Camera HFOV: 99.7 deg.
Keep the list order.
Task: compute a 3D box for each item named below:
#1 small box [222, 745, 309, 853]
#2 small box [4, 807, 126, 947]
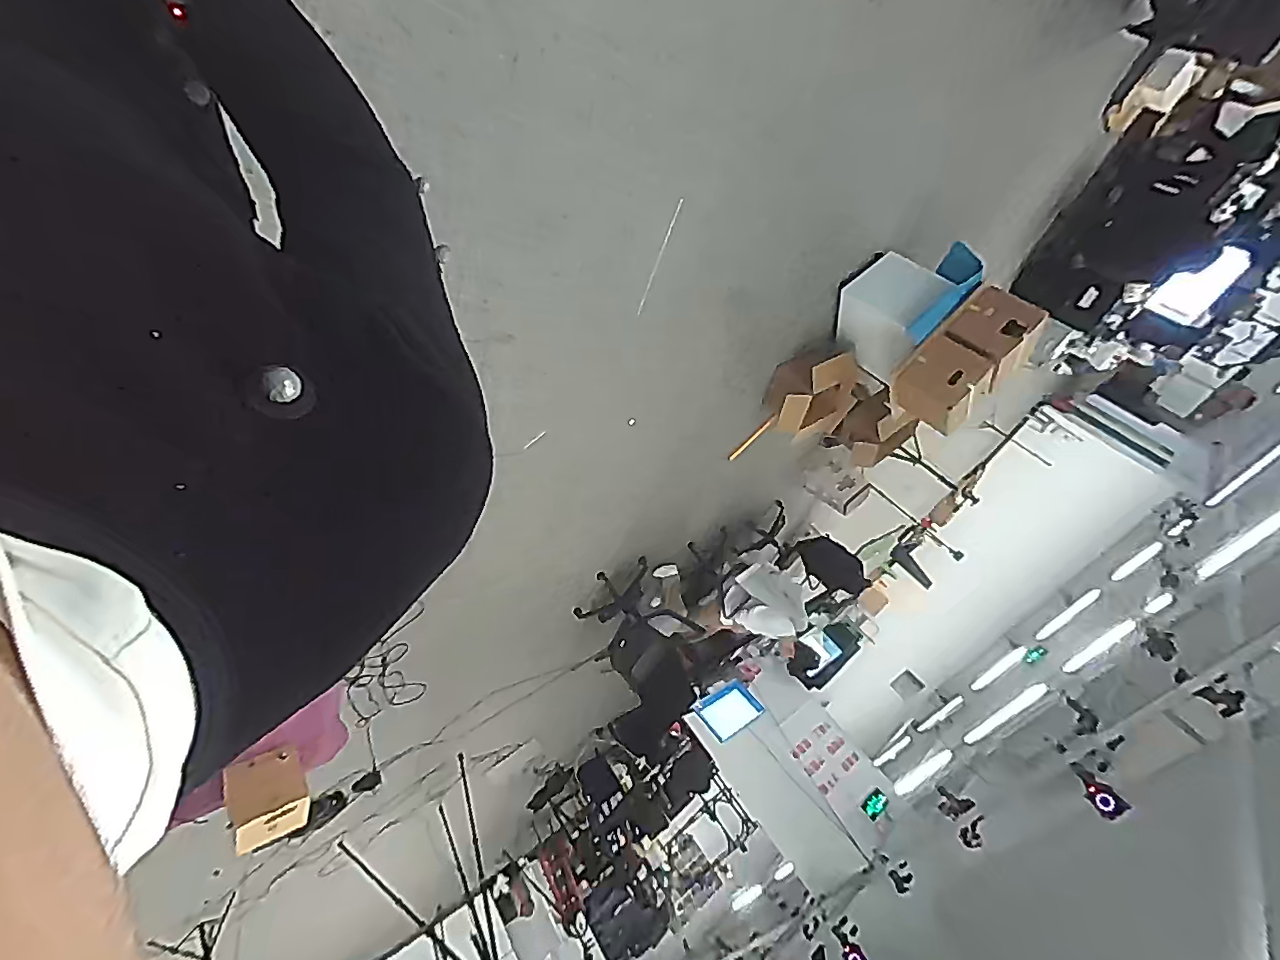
[{"bbox_3d":[-1.023,0.856,1.474,0.168,0.176,0.179,-8,135,-43],"label":"small box"},{"bbox_3d":[-1.279,0.878,1.209,0.168,0.176,0.179,-11,138,-43],"label":"small box"}]
